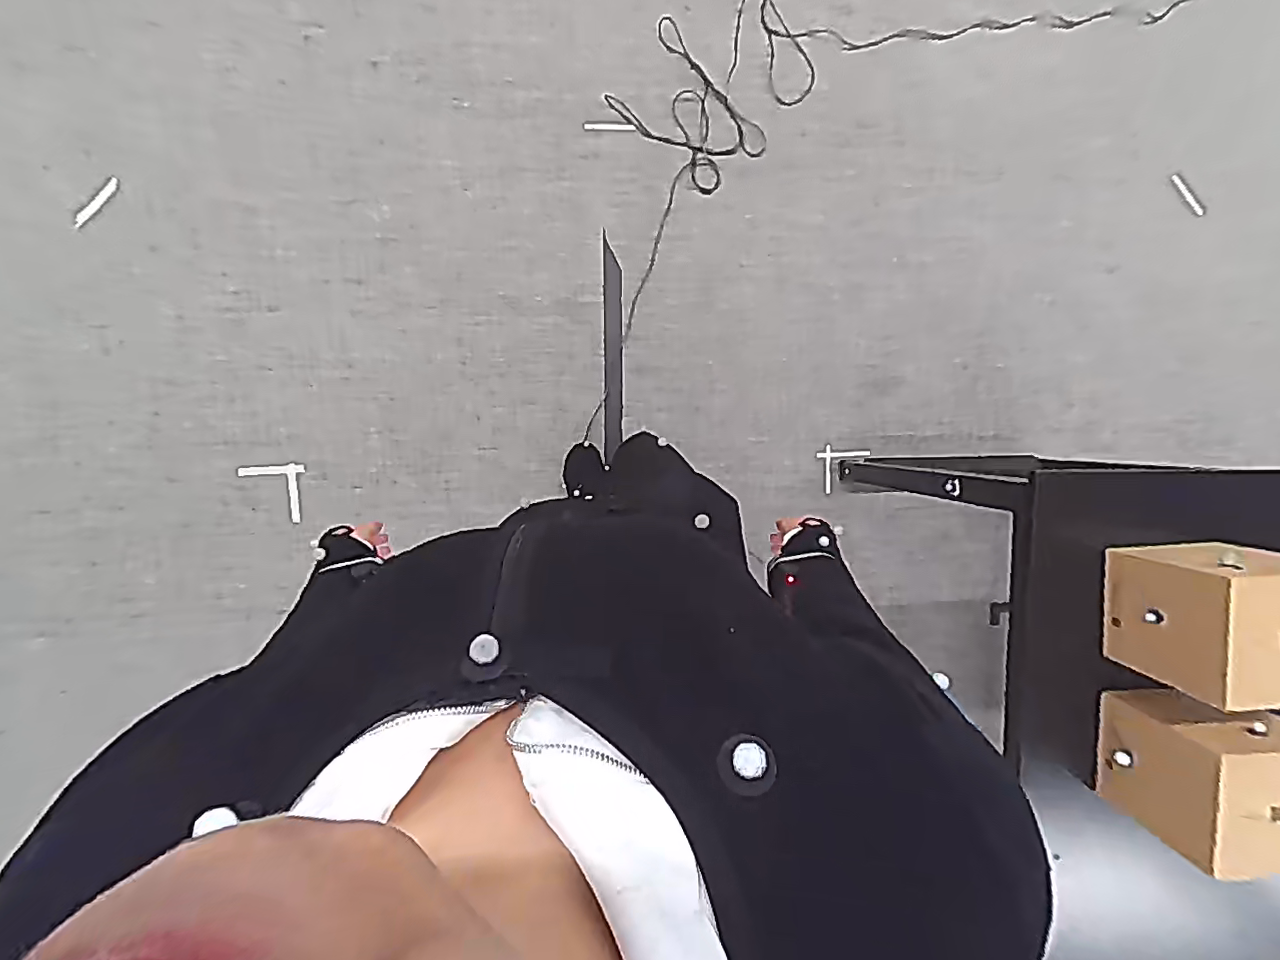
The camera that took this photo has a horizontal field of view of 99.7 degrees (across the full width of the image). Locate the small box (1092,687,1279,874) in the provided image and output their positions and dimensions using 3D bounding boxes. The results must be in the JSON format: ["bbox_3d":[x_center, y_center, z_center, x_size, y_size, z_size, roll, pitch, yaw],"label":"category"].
[{"bbox_3d":[0.787,0.402,0.751,0.179,0.176,0.168,-1,94,-2],"label":"small box"}]
